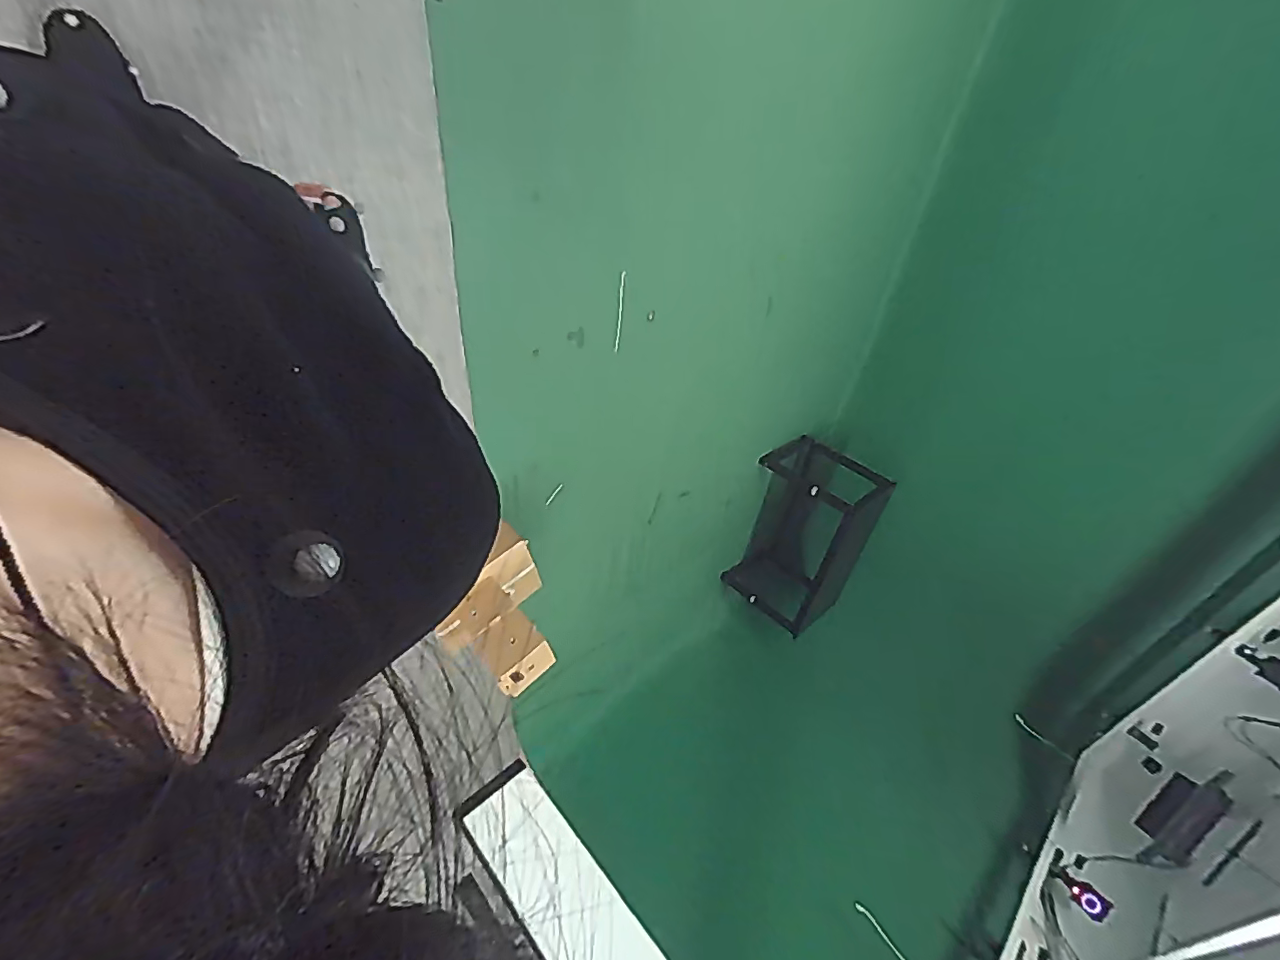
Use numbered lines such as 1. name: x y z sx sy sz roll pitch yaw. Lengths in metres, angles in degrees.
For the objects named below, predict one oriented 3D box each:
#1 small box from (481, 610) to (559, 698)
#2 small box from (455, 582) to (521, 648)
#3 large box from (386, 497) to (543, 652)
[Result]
1. small box: -0.395 0.563 1.760 0.179 0.176 0.168 -37 143 -24
2. small box: -0.504 0.478 1.849 0.168 0.176 0.179 -36 143 -25
3. large box: -0.638 0.342 2.008 0.408 0.320 0.320 -38 145 -25
